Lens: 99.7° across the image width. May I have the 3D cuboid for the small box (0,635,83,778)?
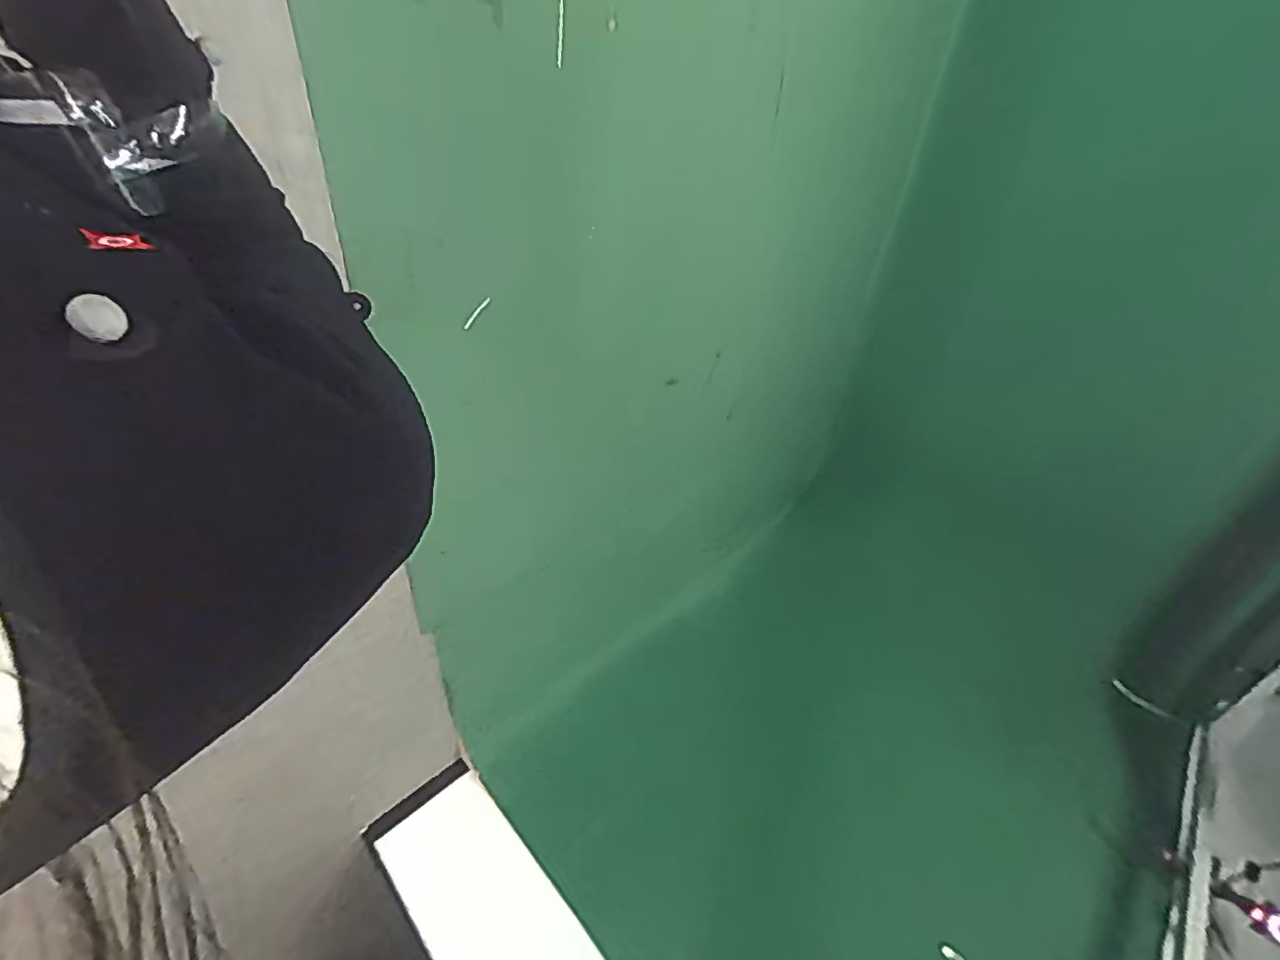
[{"bbox_3d":[-1.145,0.402,0.953,0.168,0.176,0.179,-27,138,-34],"label":"small box"}]
